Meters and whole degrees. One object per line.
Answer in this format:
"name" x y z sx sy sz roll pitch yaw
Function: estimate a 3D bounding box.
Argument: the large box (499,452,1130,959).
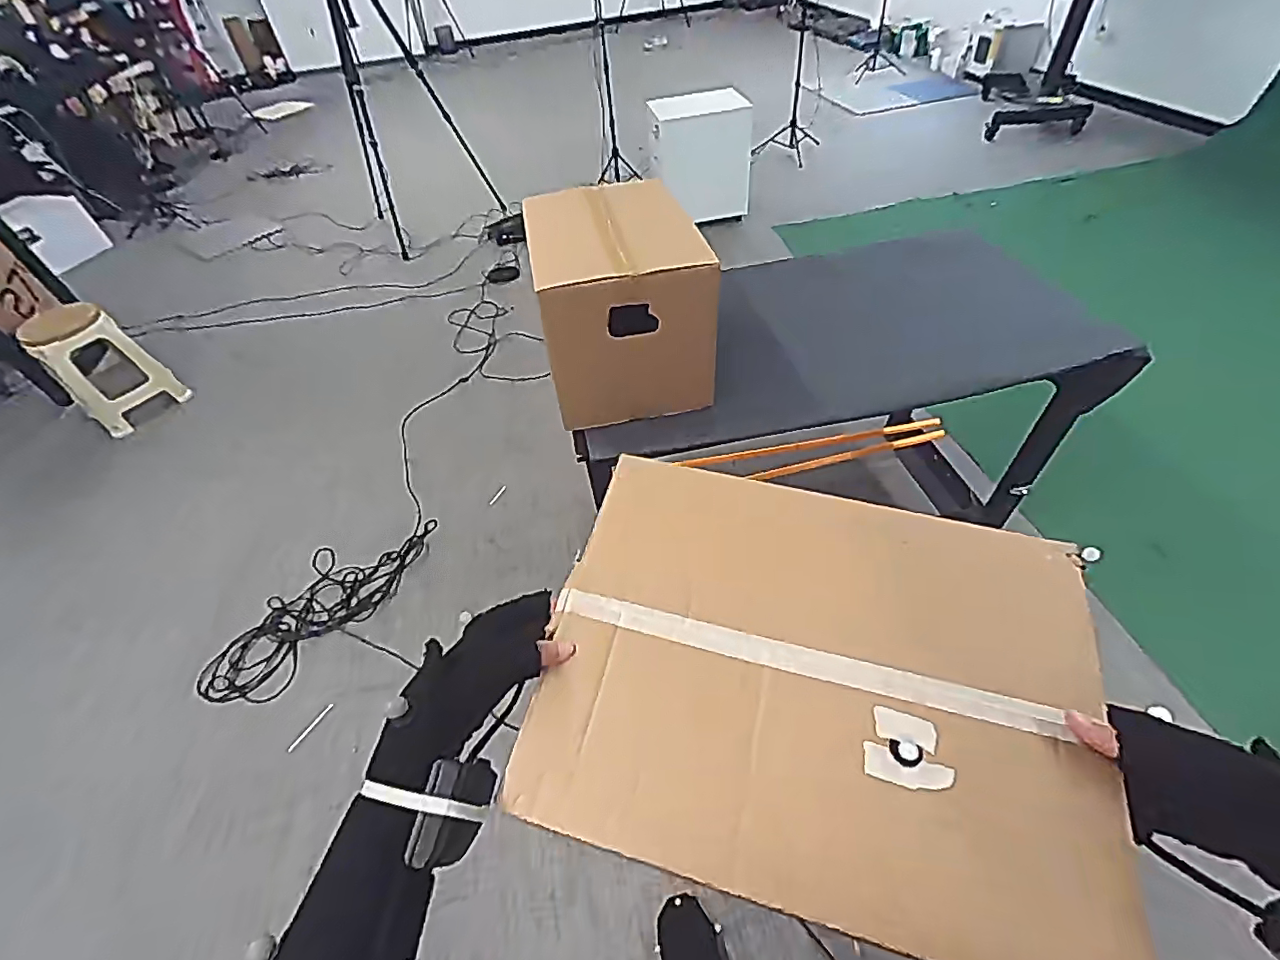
"large box" 0.133 0.214 0.542 0.408 0.320 0.320 12 59 10
